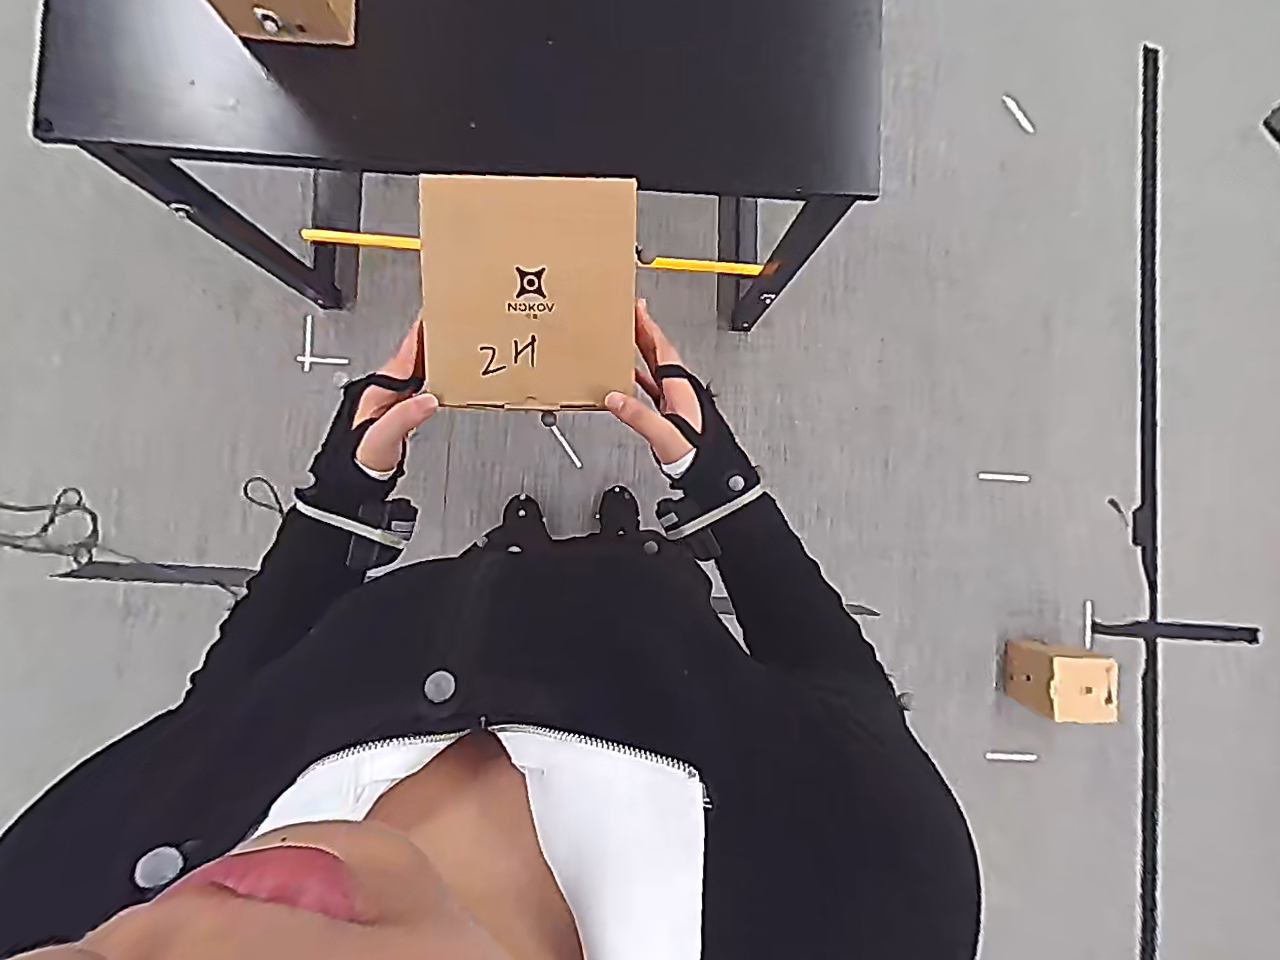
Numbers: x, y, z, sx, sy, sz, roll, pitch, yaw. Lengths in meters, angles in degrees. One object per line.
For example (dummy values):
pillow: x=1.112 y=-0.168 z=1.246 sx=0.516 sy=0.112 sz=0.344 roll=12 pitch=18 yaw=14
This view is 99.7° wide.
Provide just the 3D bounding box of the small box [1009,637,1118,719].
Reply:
small box: x=1.147 y=0.534 z=1.476 sx=0.179 sy=0.176 sz=0.168 roll=3 pitch=88 yaw=-2

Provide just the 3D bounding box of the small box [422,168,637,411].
small box: x=-0.089 y=-0.157 z=0.499 sx=0.168 sy=0.176 sz=0.179 roll=1 pitch=96 yaw=-1

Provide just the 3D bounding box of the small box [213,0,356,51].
small box: x=-0.489 y=-0.715 z=0.703 sx=0.168 sy=0.176 sz=0.179 roll=0 pitch=89 yaw=-2
